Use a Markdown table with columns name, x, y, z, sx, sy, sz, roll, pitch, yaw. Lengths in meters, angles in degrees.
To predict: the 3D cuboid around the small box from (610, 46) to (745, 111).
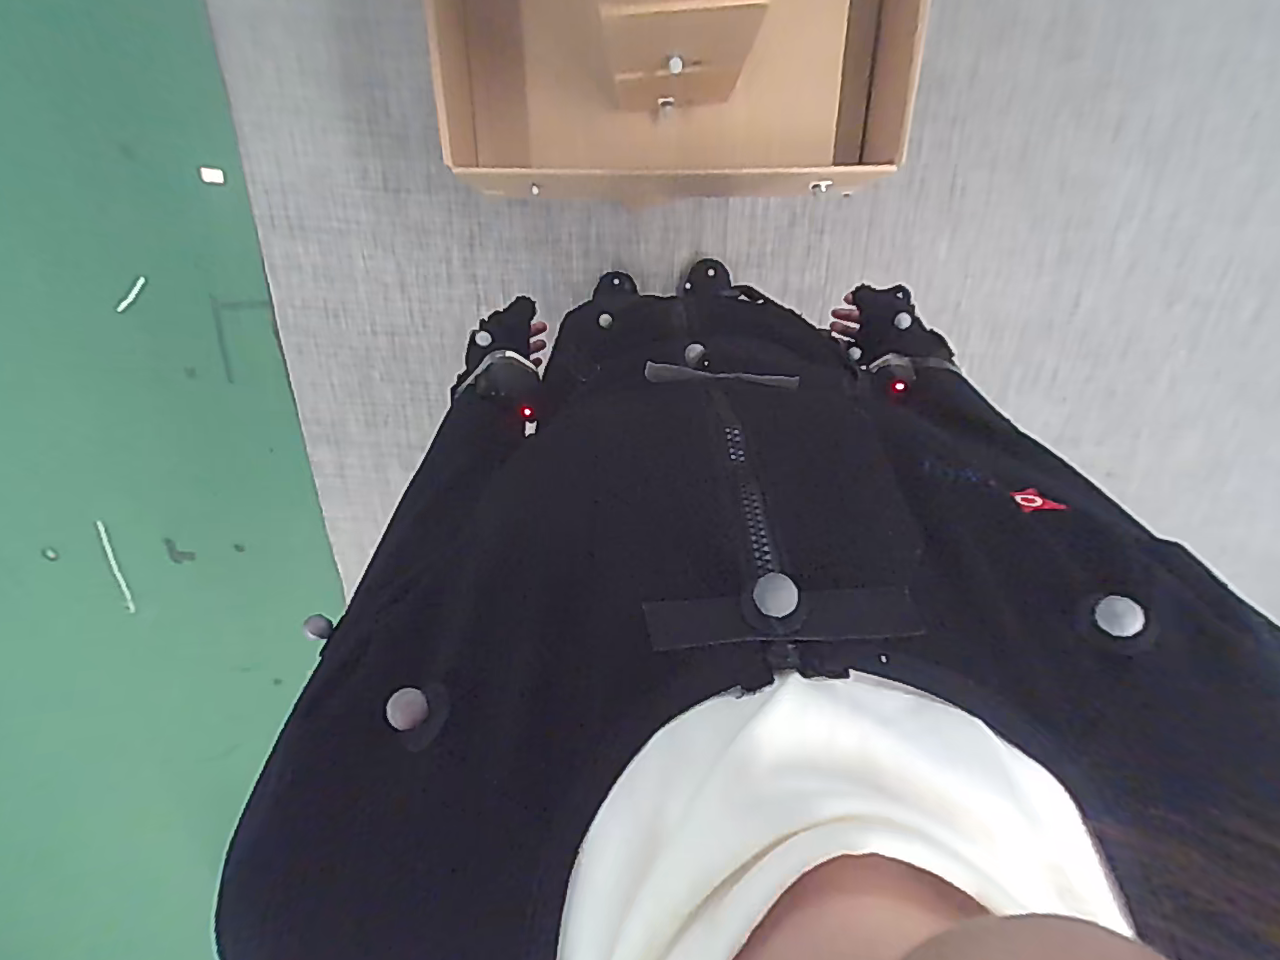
| name | x | y | z | sx | sy | sz | roll | pitch | yaw |
| --- | --- | --- | --- | --- | --- | --- | --- | --- | --- |
| small box | 0.042 | -0.613 | 0.707 | 0.168 | 0.176 | 0.179 | -4 | 112 | 3 |

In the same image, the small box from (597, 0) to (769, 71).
| name | x | y | z | sx | sy | sz | roll | pitch | yaw |
| --- | --- | --- | --- | --- | --- | --- | --- | --- | --- |
| small box | 0.040 | -0.555 | 0.554 | 0.168 | 0.176 | 0.179 | -1 | 112 | 3 |
